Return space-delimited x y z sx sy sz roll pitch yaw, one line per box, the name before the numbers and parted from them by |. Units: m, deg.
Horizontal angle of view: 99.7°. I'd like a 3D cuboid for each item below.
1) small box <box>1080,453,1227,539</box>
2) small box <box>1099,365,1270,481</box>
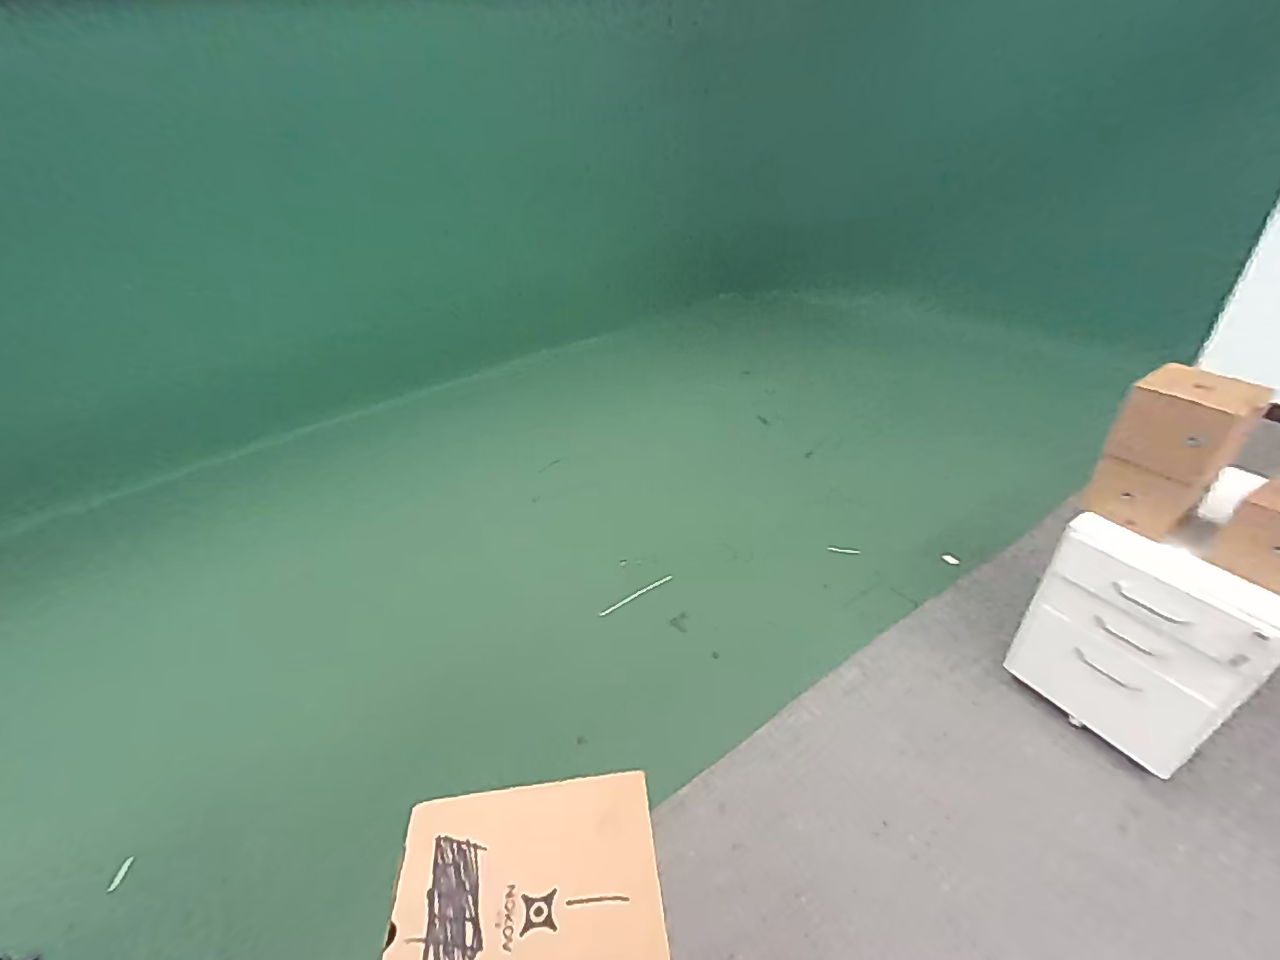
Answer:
small box | 1.158 0.007 1.236 0.179 0.176 0.168 -23 40 -21
small box | 1.129 -0.117 1.135 0.168 0.176 0.179 -23 39 -23
